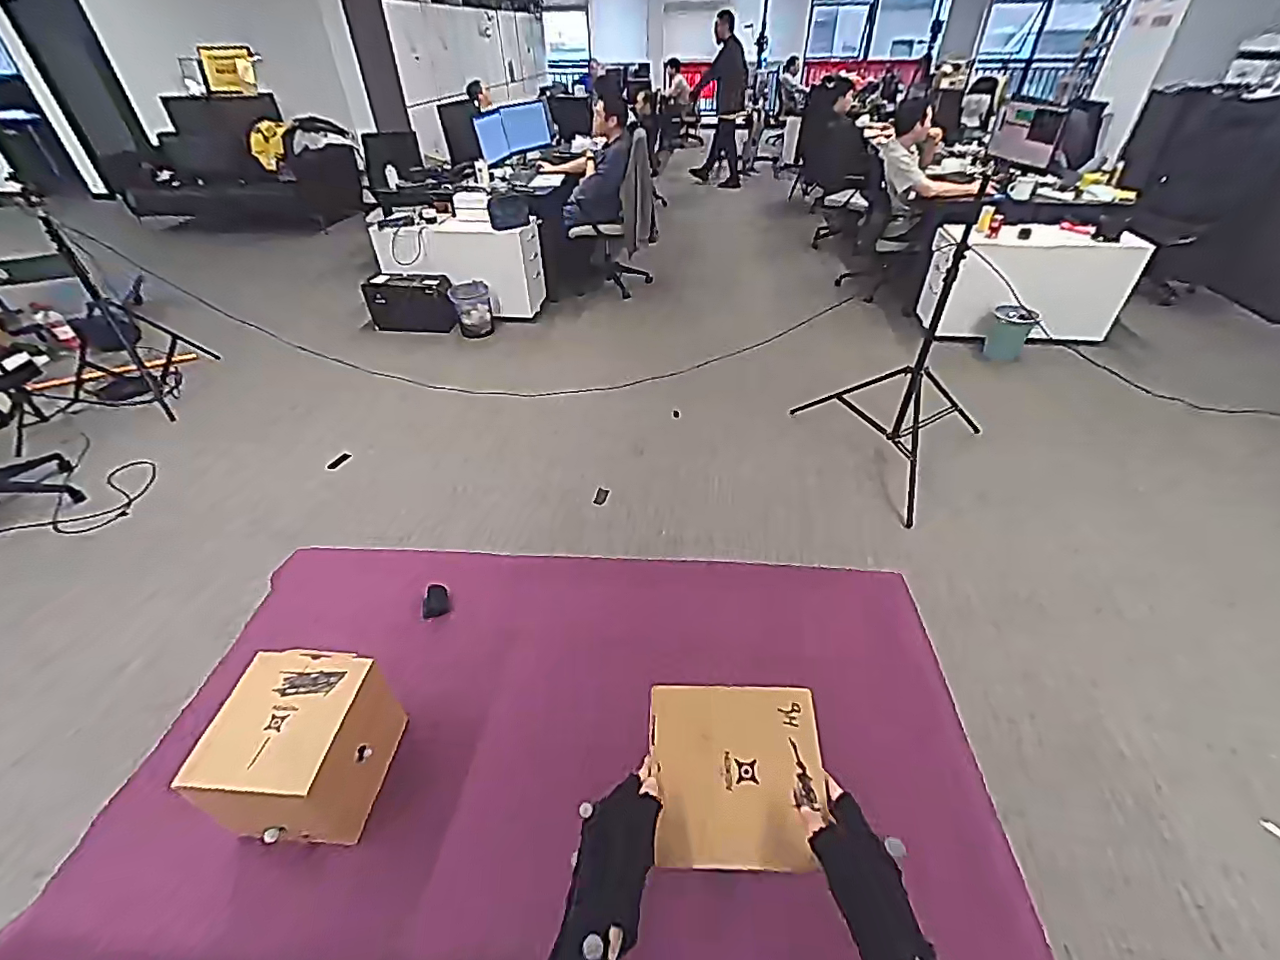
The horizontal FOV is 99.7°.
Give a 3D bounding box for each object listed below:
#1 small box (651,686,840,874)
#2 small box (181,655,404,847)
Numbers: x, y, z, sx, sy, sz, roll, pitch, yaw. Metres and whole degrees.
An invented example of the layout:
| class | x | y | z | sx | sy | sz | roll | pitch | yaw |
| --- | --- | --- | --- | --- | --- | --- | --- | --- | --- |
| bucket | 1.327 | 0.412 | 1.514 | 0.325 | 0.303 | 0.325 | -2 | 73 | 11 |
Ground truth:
| class | x | y | z | sx | sy | sz | roll | pitch | yaw |
| --- | --- | --- | --- | --- | --- | --- | --- | --- | --- |
| small box | 0.101 | 0.339 | 0.608 | 0.179 | 0.176 | 0.168 | 0 | 55 | 1 |
| small box | -0.443 | 0.363 | 0.731 | 0.168 | 0.176 | 0.179 | 2 | 40 | 4 |
